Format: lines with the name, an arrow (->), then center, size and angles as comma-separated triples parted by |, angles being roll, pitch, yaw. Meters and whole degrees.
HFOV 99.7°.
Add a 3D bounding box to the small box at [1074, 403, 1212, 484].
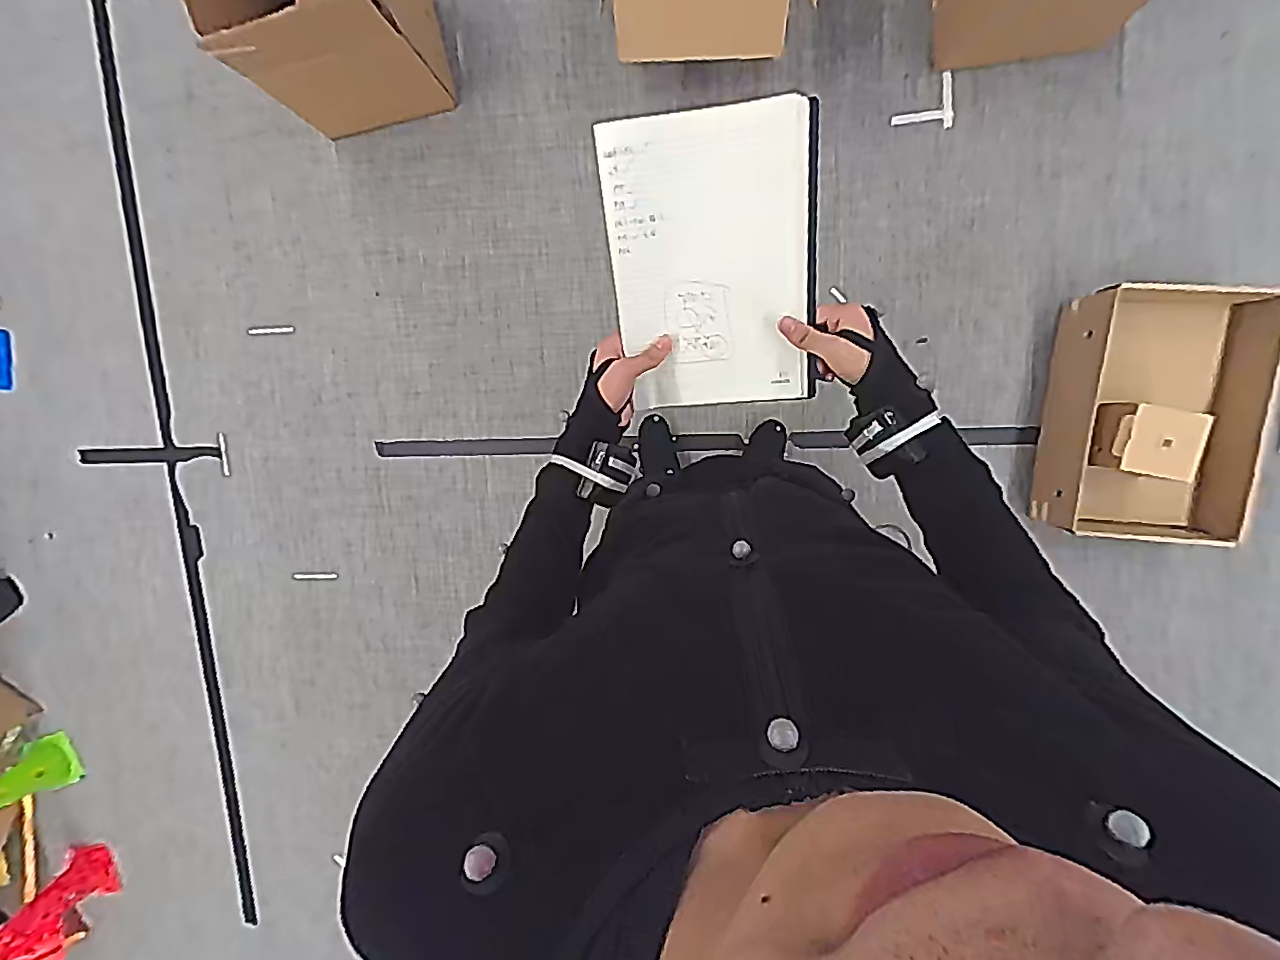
small box -> 1.261, -0.095, 1.372 | 0.179, 0.176, 0.168 | 12, 98, 4
